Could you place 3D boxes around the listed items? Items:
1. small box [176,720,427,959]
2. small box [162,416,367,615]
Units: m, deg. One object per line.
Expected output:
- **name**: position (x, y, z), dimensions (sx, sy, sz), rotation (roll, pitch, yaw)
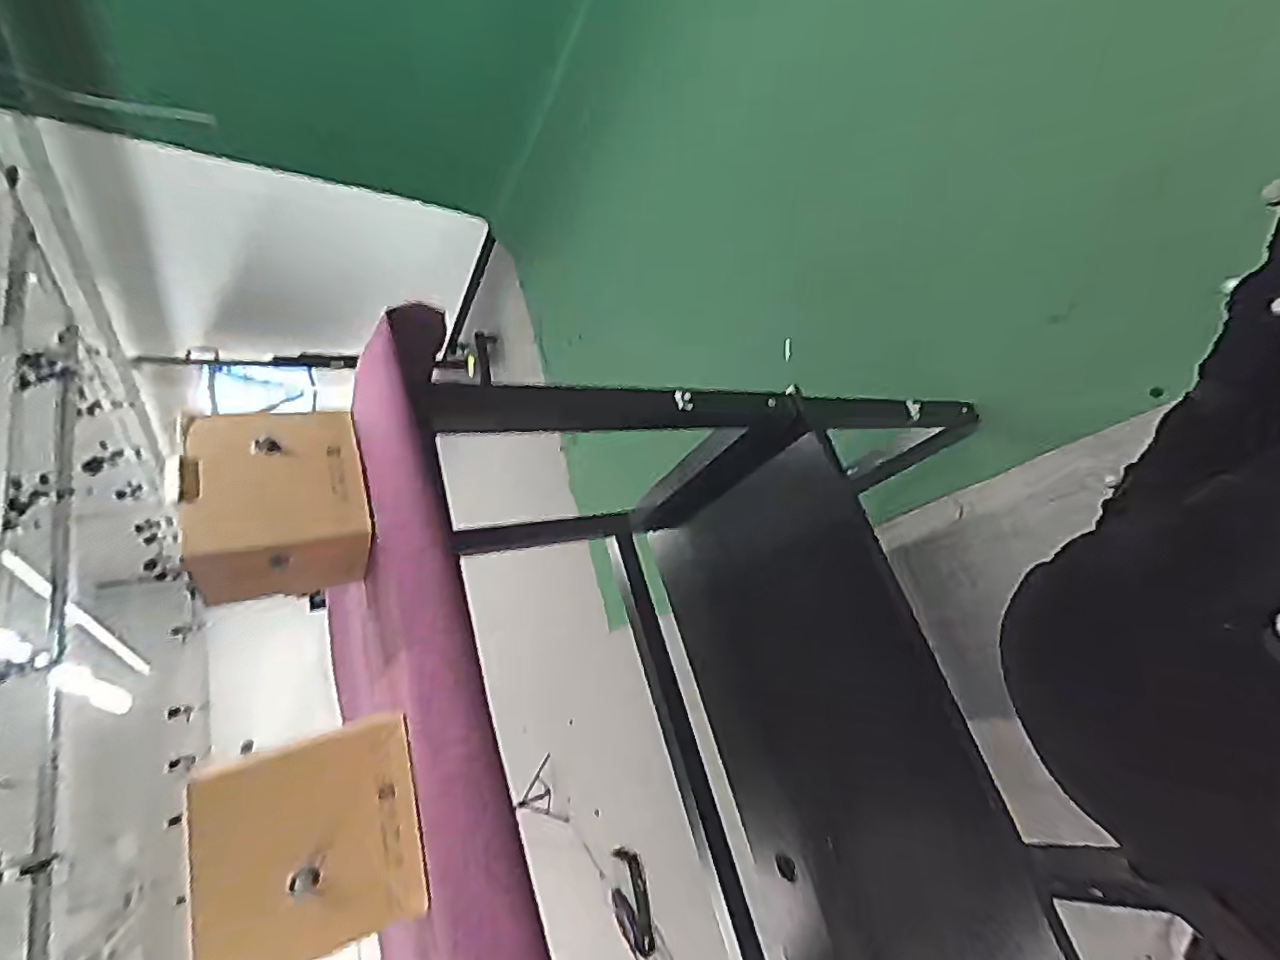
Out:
- **small box**: position (-0.309, 0.339, 0.512), dimensions (0.179, 0.176, 0.168), rotation (-36, 66, 53)
- **small box**: position (-0.423, 0.037, 0.627), dimensions (0.179, 0.176, 0.168), rotation (-46, 58, 50)
